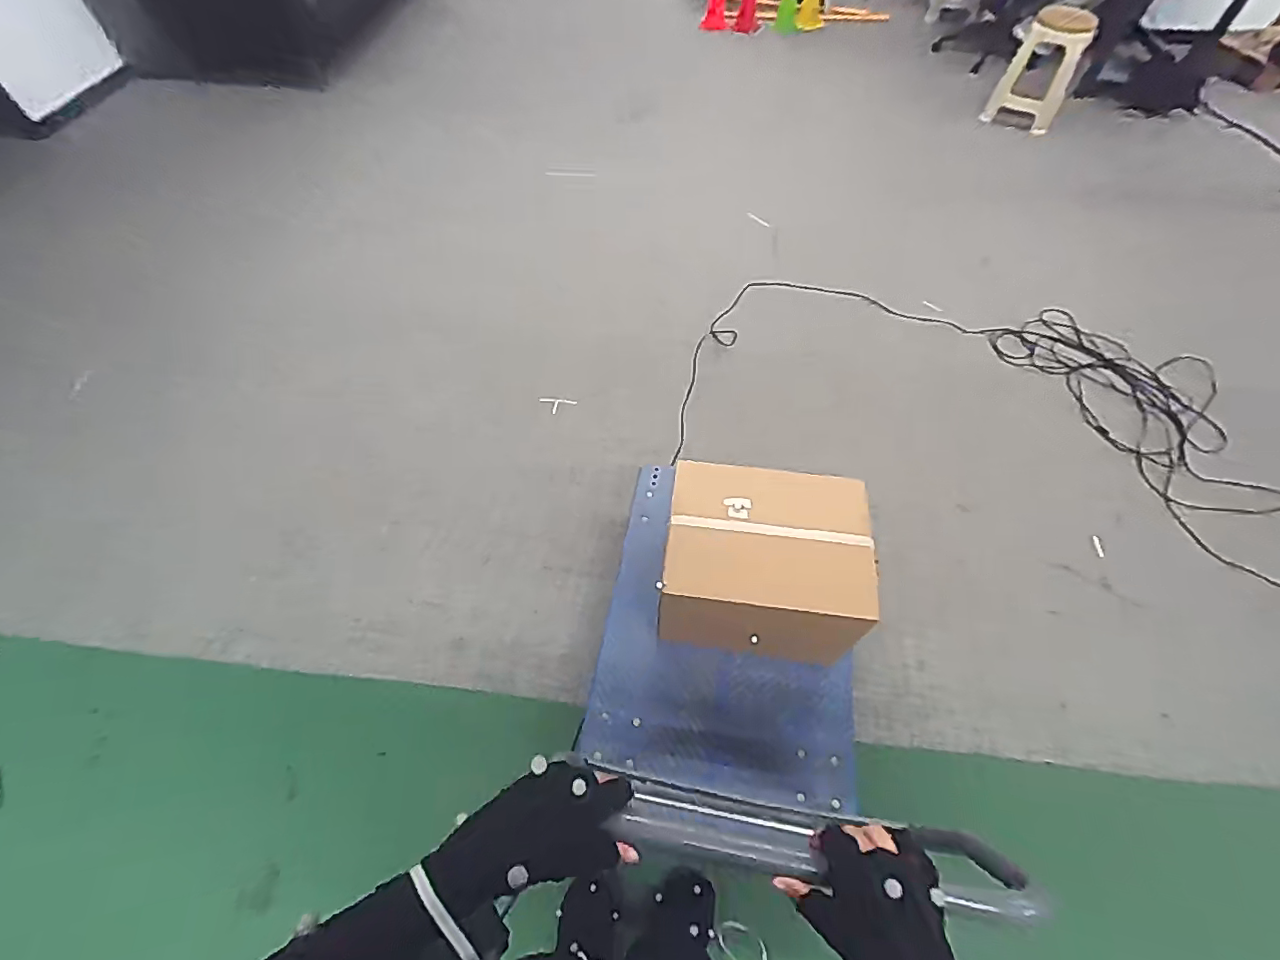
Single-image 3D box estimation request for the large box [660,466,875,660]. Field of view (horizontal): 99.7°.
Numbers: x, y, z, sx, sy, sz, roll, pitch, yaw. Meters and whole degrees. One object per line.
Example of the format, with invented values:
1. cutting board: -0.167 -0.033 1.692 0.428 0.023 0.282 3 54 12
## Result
1. large box: 0.261 0.194 1.218 0.408 0.320 0.320 6 56 5
